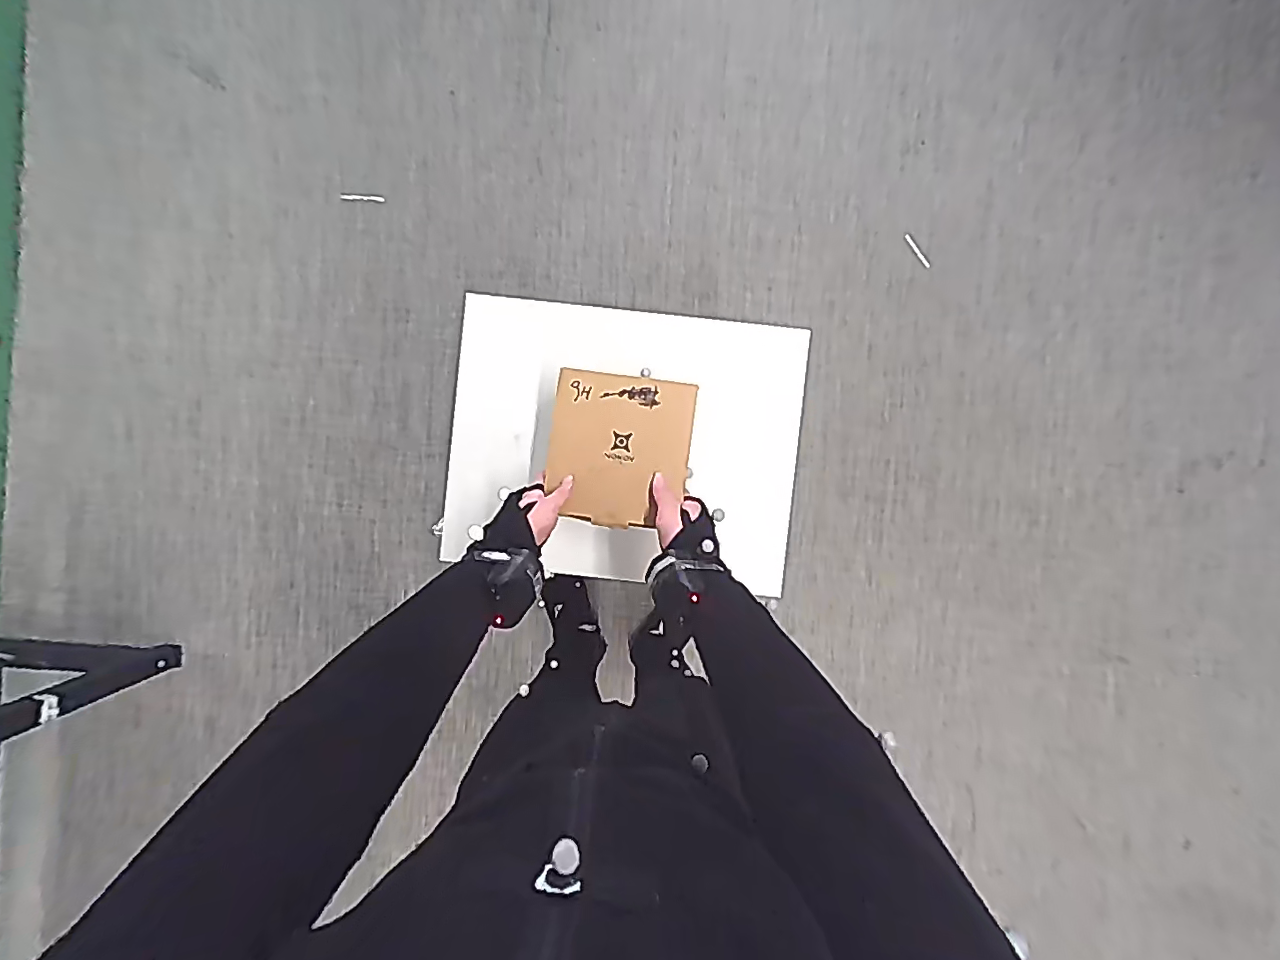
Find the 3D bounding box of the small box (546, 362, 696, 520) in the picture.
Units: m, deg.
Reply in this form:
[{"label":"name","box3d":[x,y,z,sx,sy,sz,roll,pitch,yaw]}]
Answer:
[{"label":"small box","box3d":[-0.020,-0.047,0.722,0.168,0.176,0.179,6,90,1]}]
